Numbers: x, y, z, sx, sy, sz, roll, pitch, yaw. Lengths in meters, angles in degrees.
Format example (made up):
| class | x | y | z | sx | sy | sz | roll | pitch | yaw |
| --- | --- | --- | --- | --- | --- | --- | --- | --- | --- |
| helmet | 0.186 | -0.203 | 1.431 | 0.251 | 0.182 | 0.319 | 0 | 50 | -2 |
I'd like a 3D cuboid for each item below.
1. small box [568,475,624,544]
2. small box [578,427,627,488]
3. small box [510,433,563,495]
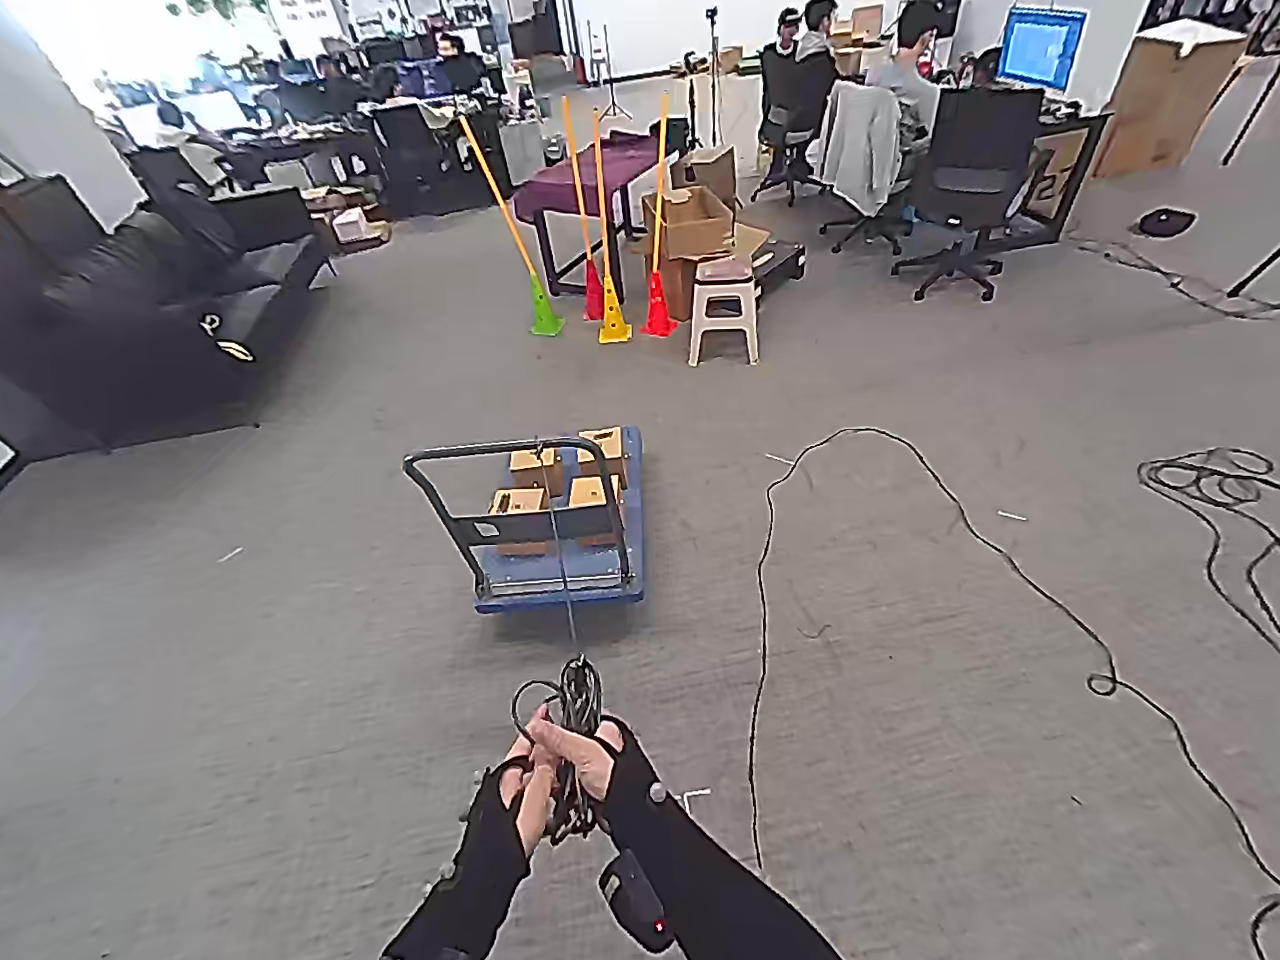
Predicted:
| class | x | y | z | sx | sy | sz | roll | pitch | yaw |
| --- | --- | --- | --- | --- | --- | --- | --- | --- | --- |
| small box | -0.151 | 0.104 | 1.905 | 0.168 | 0.176 | 0.179 | -4 | 45 | 5 |
| small box | -0.142 | -0.082 | 2.089 | 0.168 | 0.176 | 0.179 | -6 | 45 | 4 |
| small box | -0.397 | -0.055 | 2.102 | 0.168 | 0.176 | 0.179 | -7 | 44 | 1 |
